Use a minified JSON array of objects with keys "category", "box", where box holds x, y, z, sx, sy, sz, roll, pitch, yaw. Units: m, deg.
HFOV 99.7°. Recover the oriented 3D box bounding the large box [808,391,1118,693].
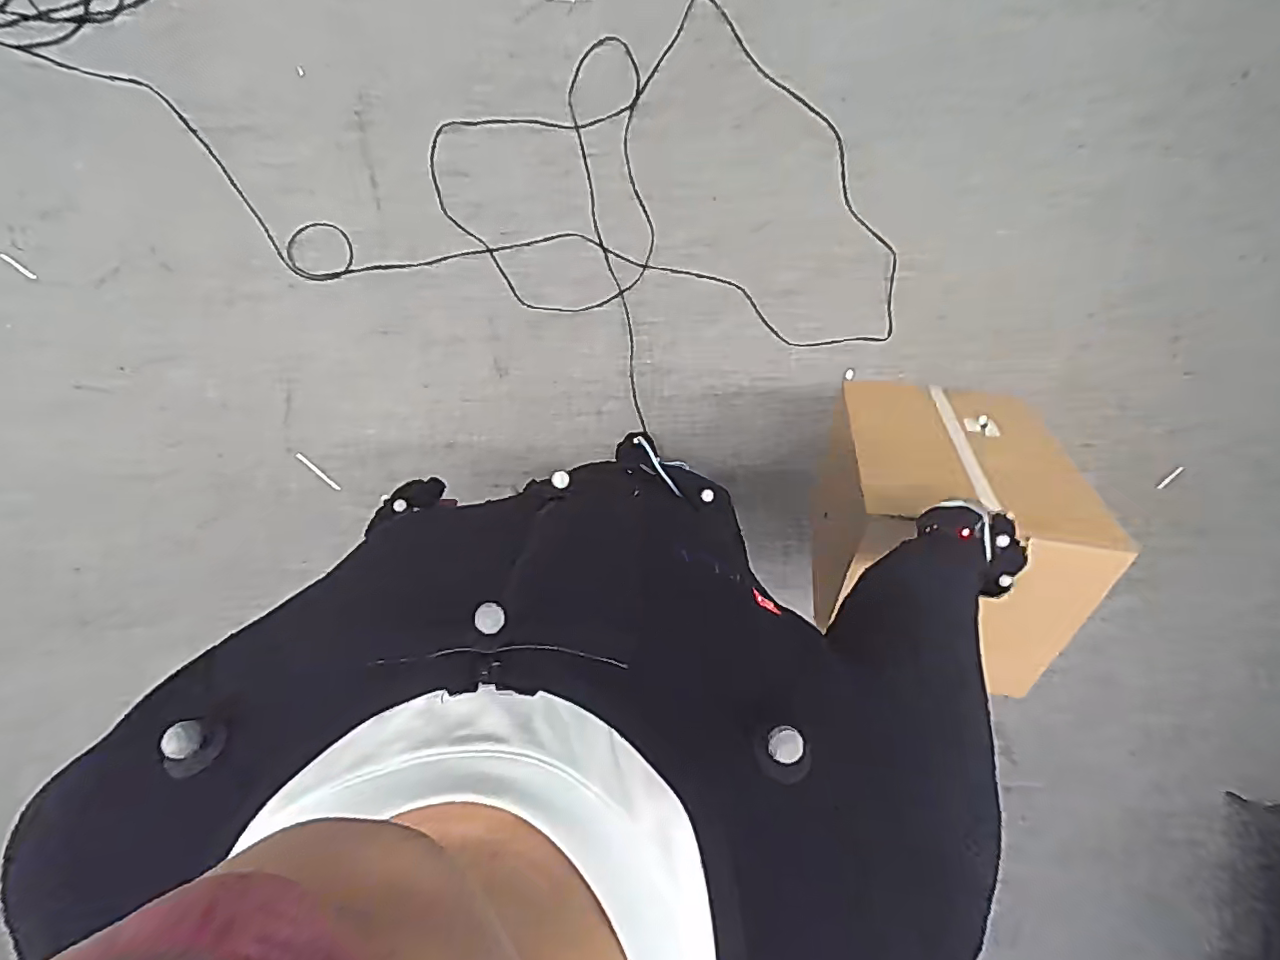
[{"category":"large box","box":[0.481,0.085,0.931,0.320,0.408,0.320,10,126,9]}]
